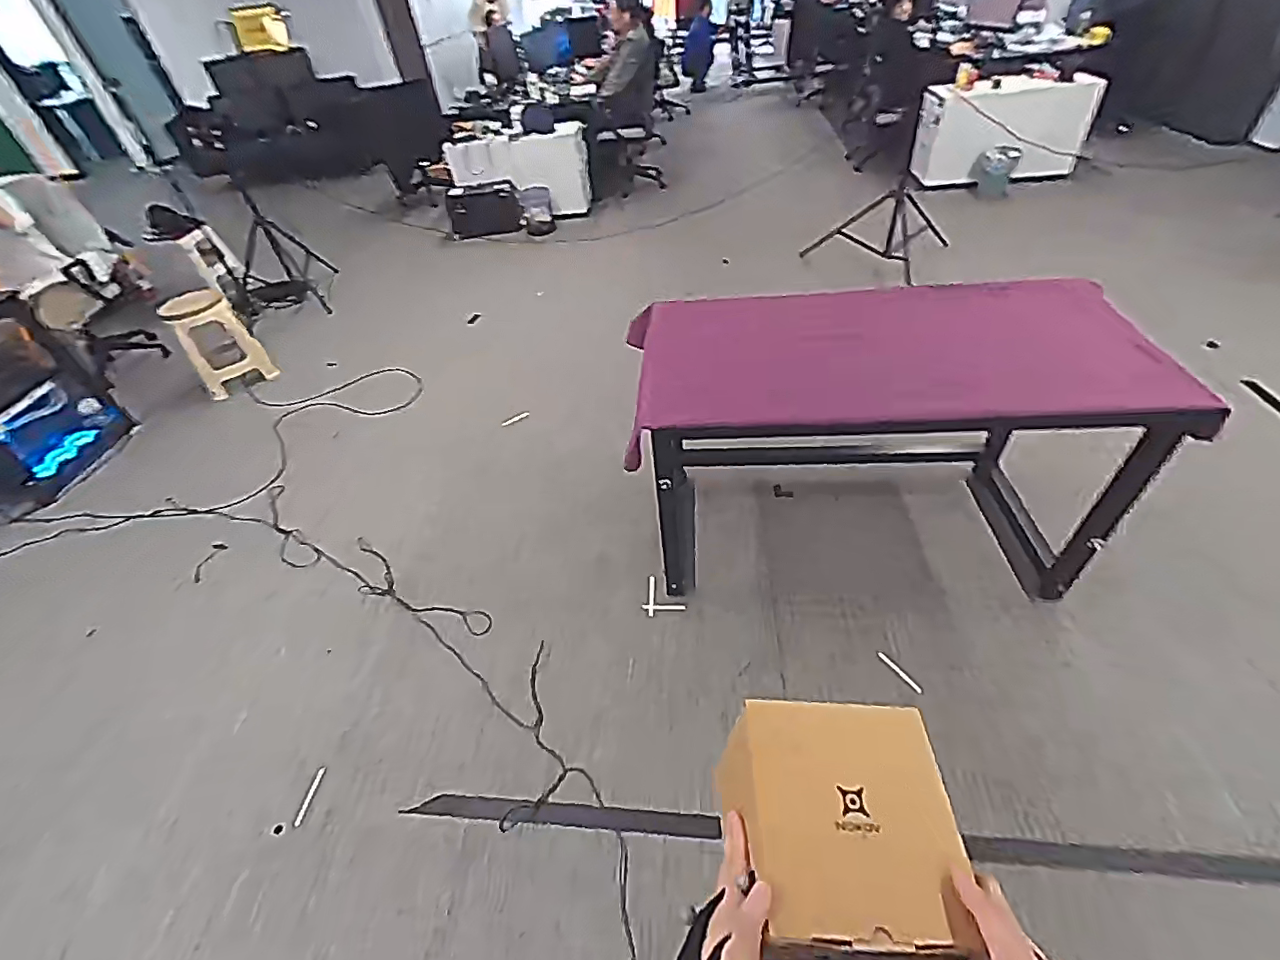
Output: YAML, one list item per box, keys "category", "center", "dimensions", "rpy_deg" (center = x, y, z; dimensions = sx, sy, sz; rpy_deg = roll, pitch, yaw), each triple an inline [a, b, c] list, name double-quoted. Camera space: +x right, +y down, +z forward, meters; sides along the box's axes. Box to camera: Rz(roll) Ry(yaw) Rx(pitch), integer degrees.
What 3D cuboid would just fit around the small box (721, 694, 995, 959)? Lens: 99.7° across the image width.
- category: "small box"
  center: [0.172, 0.324, 0.501]
  dimensions: [0.168, 0.176, 0.179]
  rpy_deg: [3, 45, 0]
